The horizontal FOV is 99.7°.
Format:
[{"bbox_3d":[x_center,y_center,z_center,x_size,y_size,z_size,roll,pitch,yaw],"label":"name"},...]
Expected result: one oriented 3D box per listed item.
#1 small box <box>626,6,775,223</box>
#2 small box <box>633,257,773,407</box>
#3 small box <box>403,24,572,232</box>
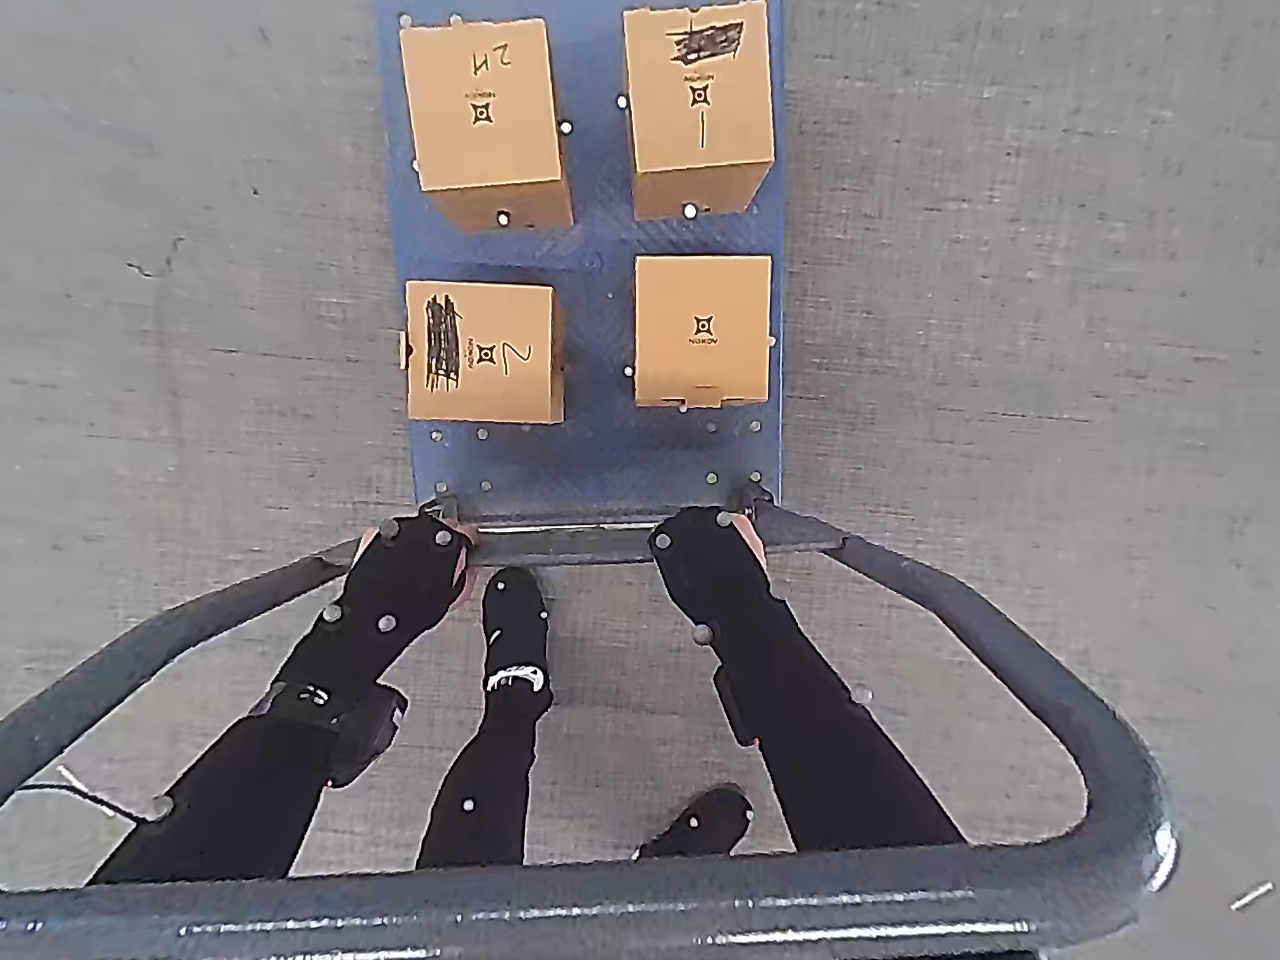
[{"bbox_3d":[0.070,-0.458,0.702,0.168,0.176,0.179,-5,98,0],"label":"small box"},{"bbox_3d":[0.075,-0.189,0.737,0.168,0.176,0.179,0,98,-2],"label":"small box"},{"bbox_3d":[-0.181,-0.434,0.698,0.168,0.176,0.179,-5,97,-2],"label":"small box"}]
